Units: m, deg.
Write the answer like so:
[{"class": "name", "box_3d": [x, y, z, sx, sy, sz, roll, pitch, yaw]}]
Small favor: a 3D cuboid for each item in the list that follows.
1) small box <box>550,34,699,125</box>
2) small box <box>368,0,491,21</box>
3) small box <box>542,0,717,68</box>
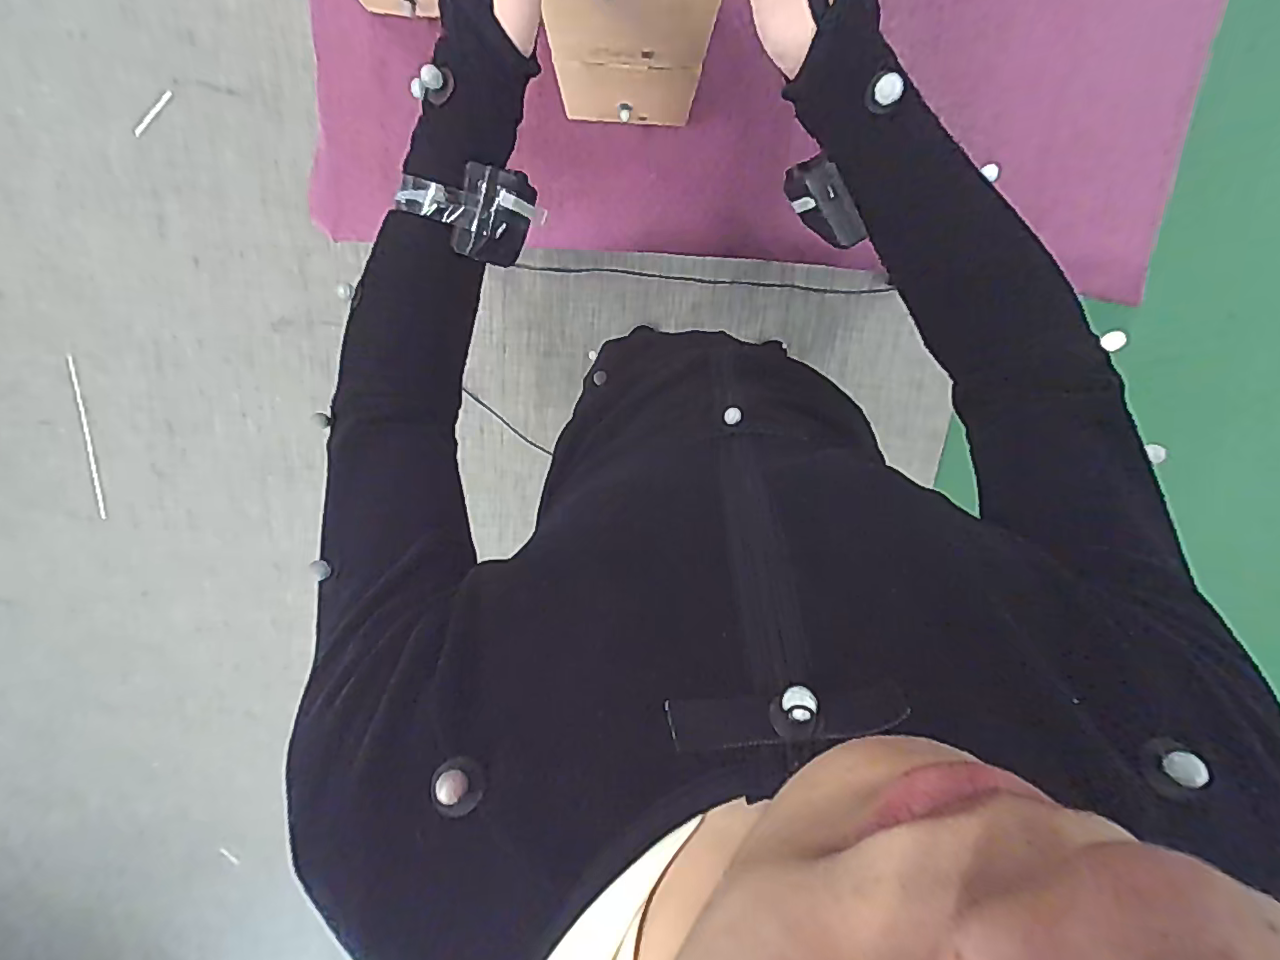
[{"class": "small box", "box_3d": [-0.015, -0.559, 0.647, 0.168, 0.176, 0.179, 2, 106, -2]}, {"class": "small box", "box_3d": [-0.270, -0.670, 0.609, 0.168, 0.176, 0.179, 1, 106, -2]}, {"class": "small box", "box_3d": [-0.010, -0.518, 0.488, 0.168, 0.176, 0.179, 2, 104, -2]}]
